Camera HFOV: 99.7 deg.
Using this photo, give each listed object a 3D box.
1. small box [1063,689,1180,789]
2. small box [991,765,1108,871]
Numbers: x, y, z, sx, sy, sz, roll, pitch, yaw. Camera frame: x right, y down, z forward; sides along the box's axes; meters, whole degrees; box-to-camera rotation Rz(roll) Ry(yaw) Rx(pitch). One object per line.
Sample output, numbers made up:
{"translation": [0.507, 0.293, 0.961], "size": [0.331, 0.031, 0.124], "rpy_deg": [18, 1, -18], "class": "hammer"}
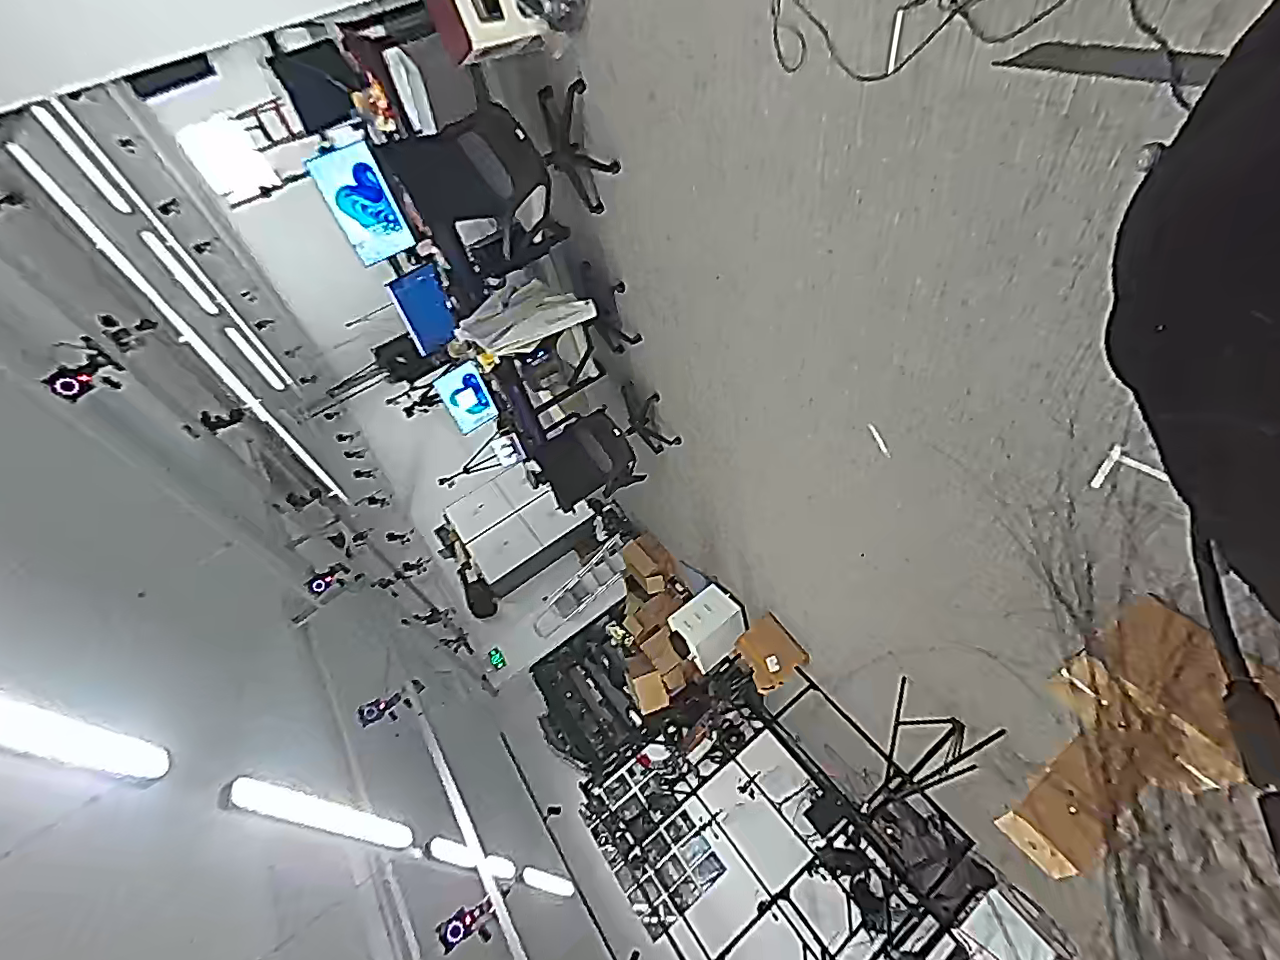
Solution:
{"translation": [1.361, 0.728, 1.528], "size": [0.168, 0.176, 0.179], "rpy_deg": [43, 161, 40], "class": "small box"}
{"translation": [1.094, 0.902, 1.447], "size": [0.168, 0.176, 0.179], "rpy_deg": [43, 160, 37], "class": "small box"}
